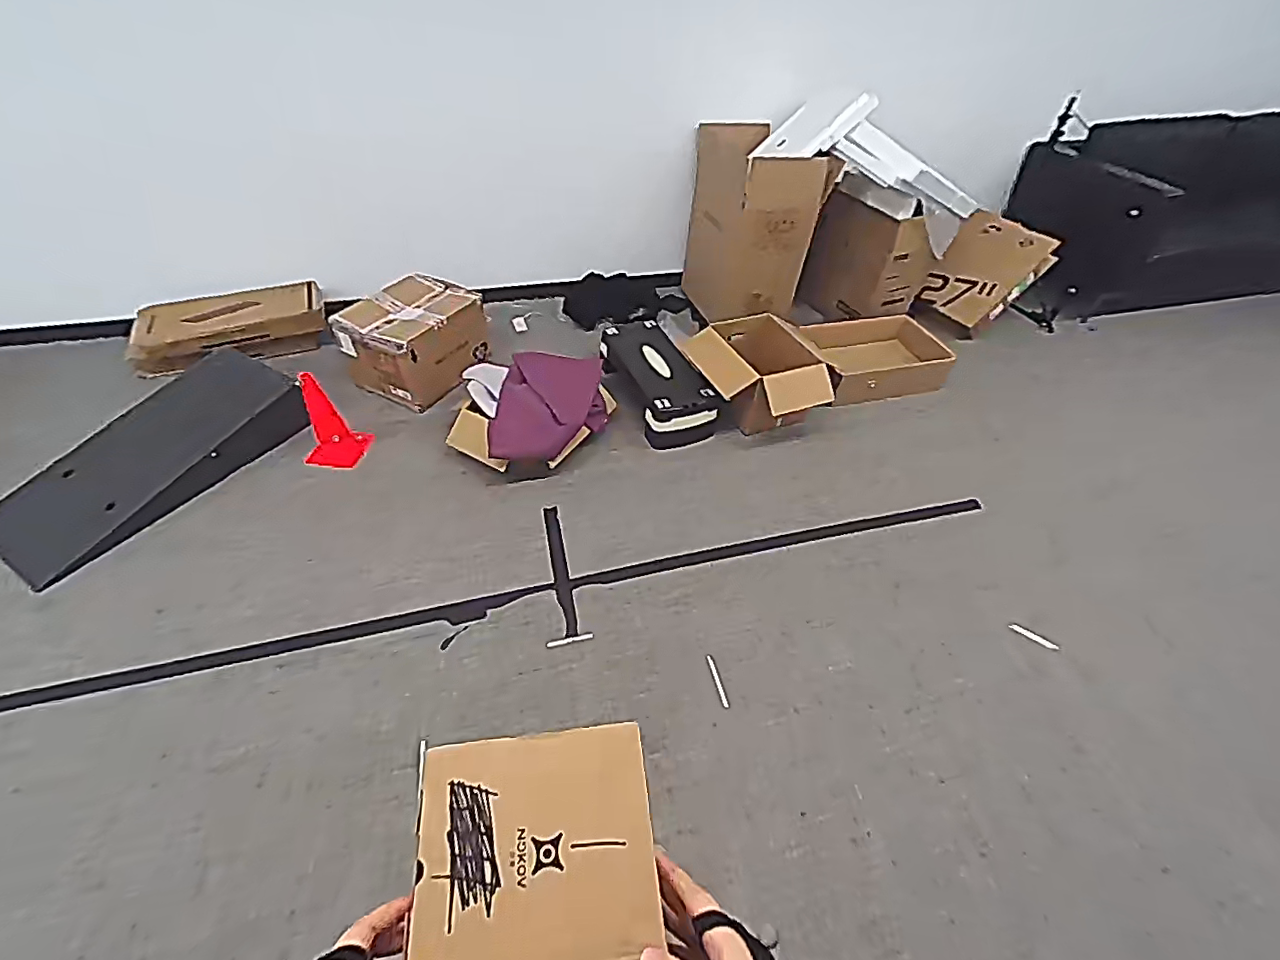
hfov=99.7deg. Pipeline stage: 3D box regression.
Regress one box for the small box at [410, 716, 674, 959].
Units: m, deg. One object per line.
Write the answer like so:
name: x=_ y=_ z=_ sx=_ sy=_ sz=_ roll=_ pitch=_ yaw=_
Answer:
small box: x=-0.076 y=0.318 z=0.459 sx=0.179 sy=0.176 sz=0.168 roll=-4 pitch=52 yaw=-8
